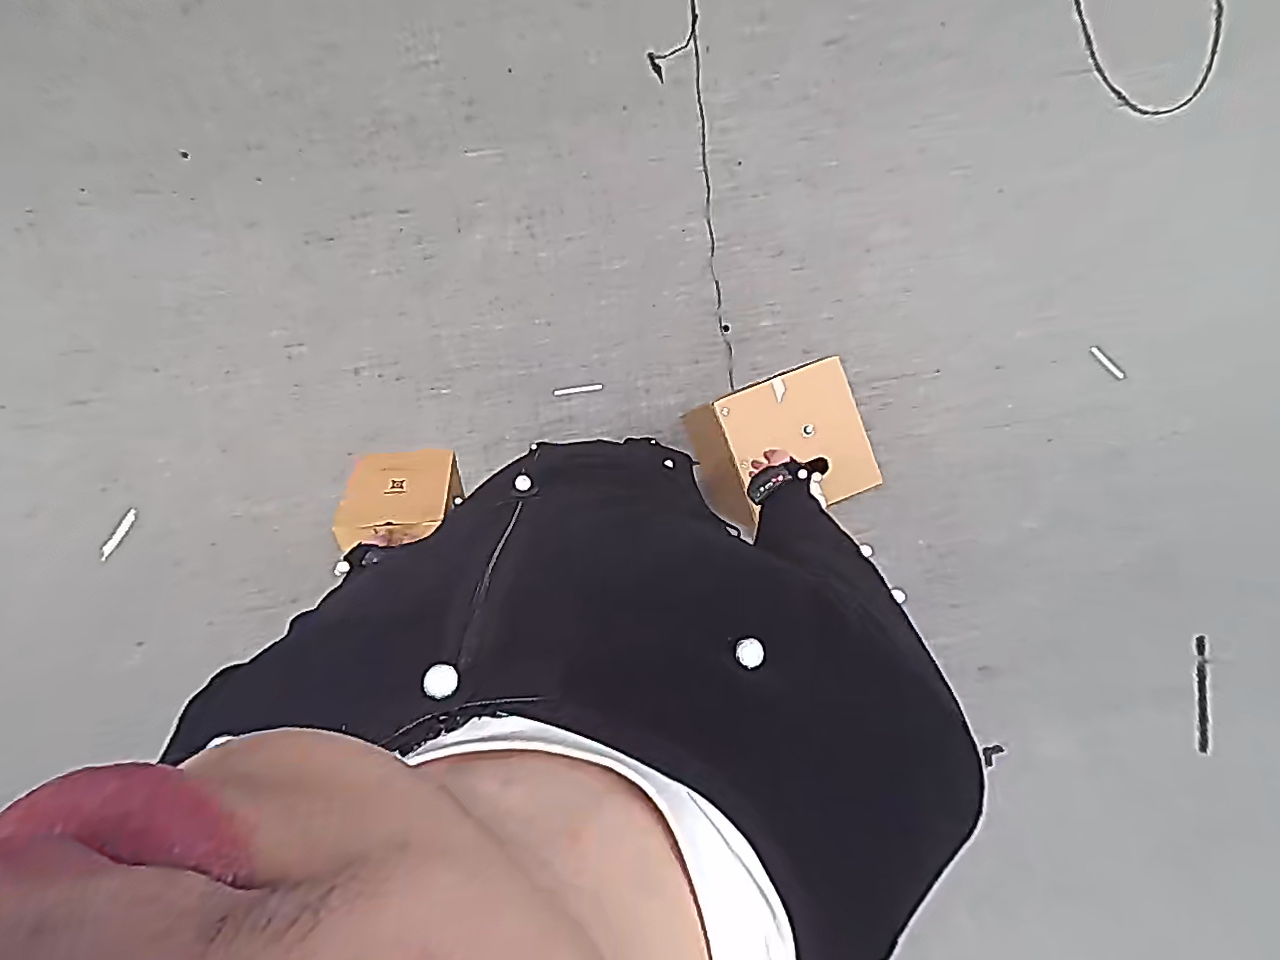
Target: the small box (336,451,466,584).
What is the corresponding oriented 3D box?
[{"bbox_3d":[-0.409,0.071,0.960,0.168,0.179,0.176,-4,134,-9],"label":"small box"}]
